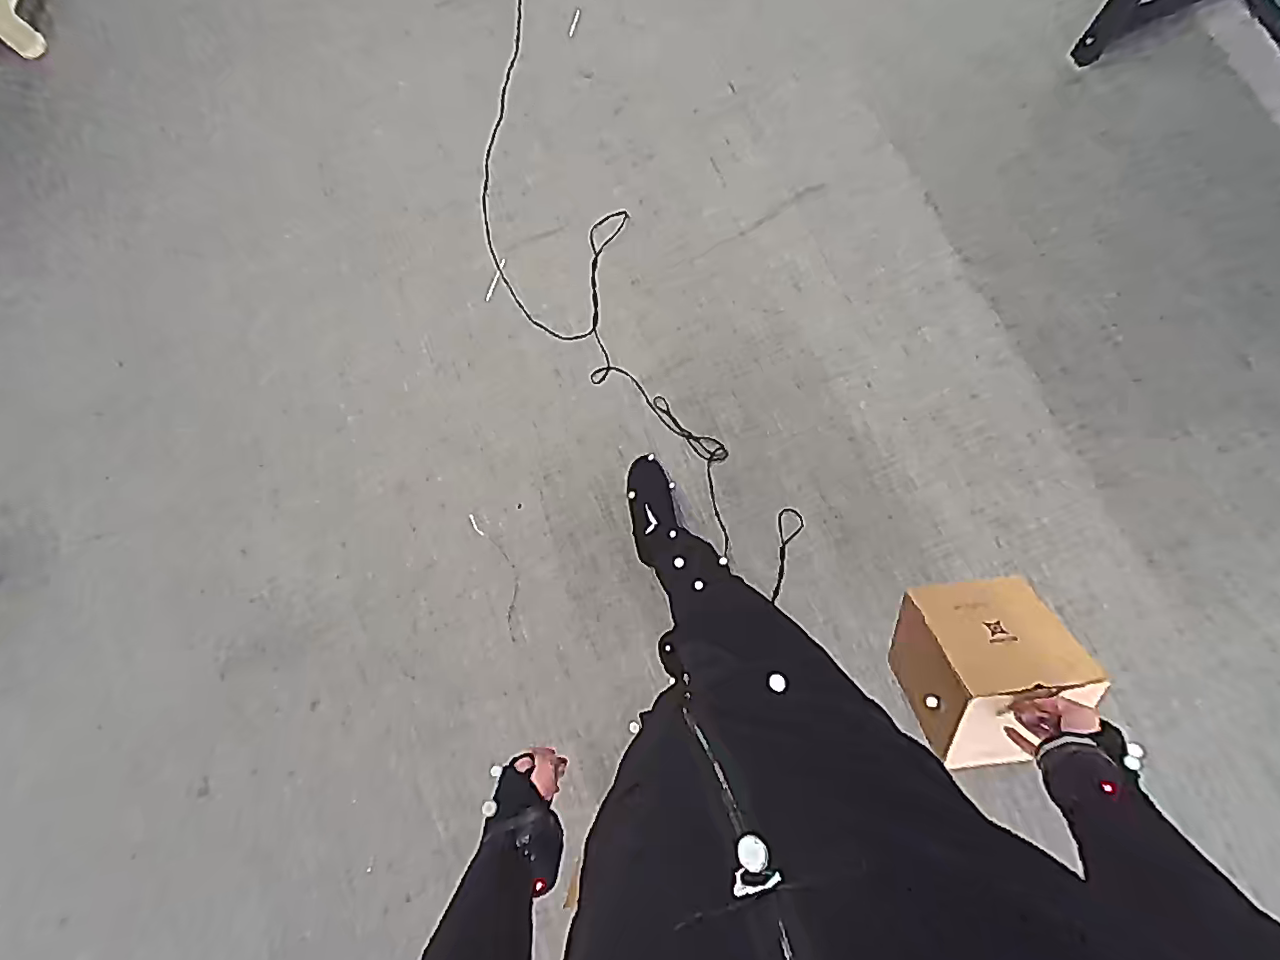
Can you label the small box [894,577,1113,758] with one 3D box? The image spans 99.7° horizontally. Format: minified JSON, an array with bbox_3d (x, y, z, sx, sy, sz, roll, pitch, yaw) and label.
[{"bbox_3d":[0.471,0.257,0.737,0.168,0.179,0.176,-4,122,2],"label":"small box"}]
